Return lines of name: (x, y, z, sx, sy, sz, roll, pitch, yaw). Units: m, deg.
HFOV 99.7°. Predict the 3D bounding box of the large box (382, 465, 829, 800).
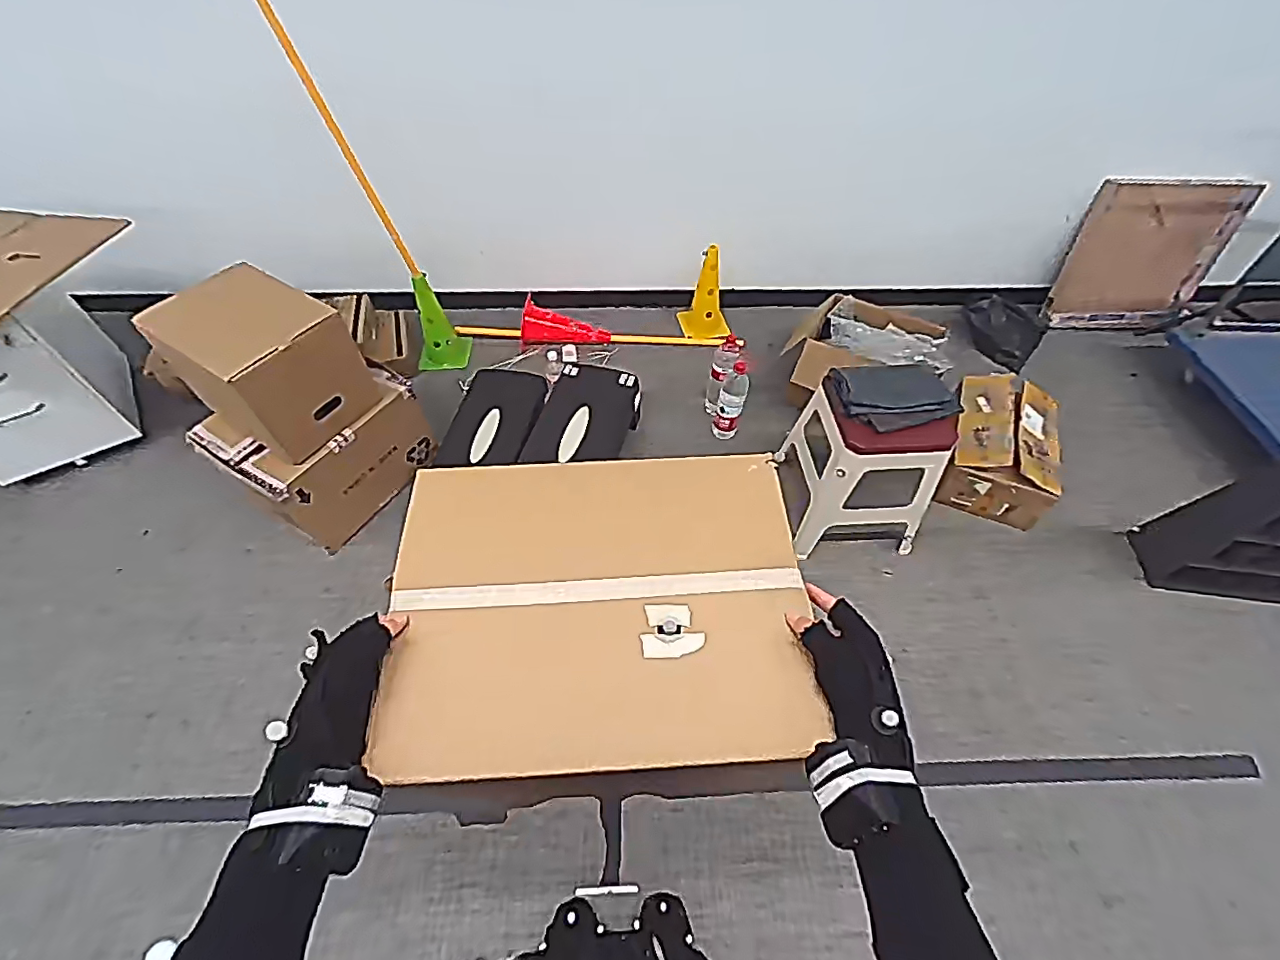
large box: (-0.039, 0.201, 0.678, 0.408, 0.320, 0.320, -2, 58, -2)
